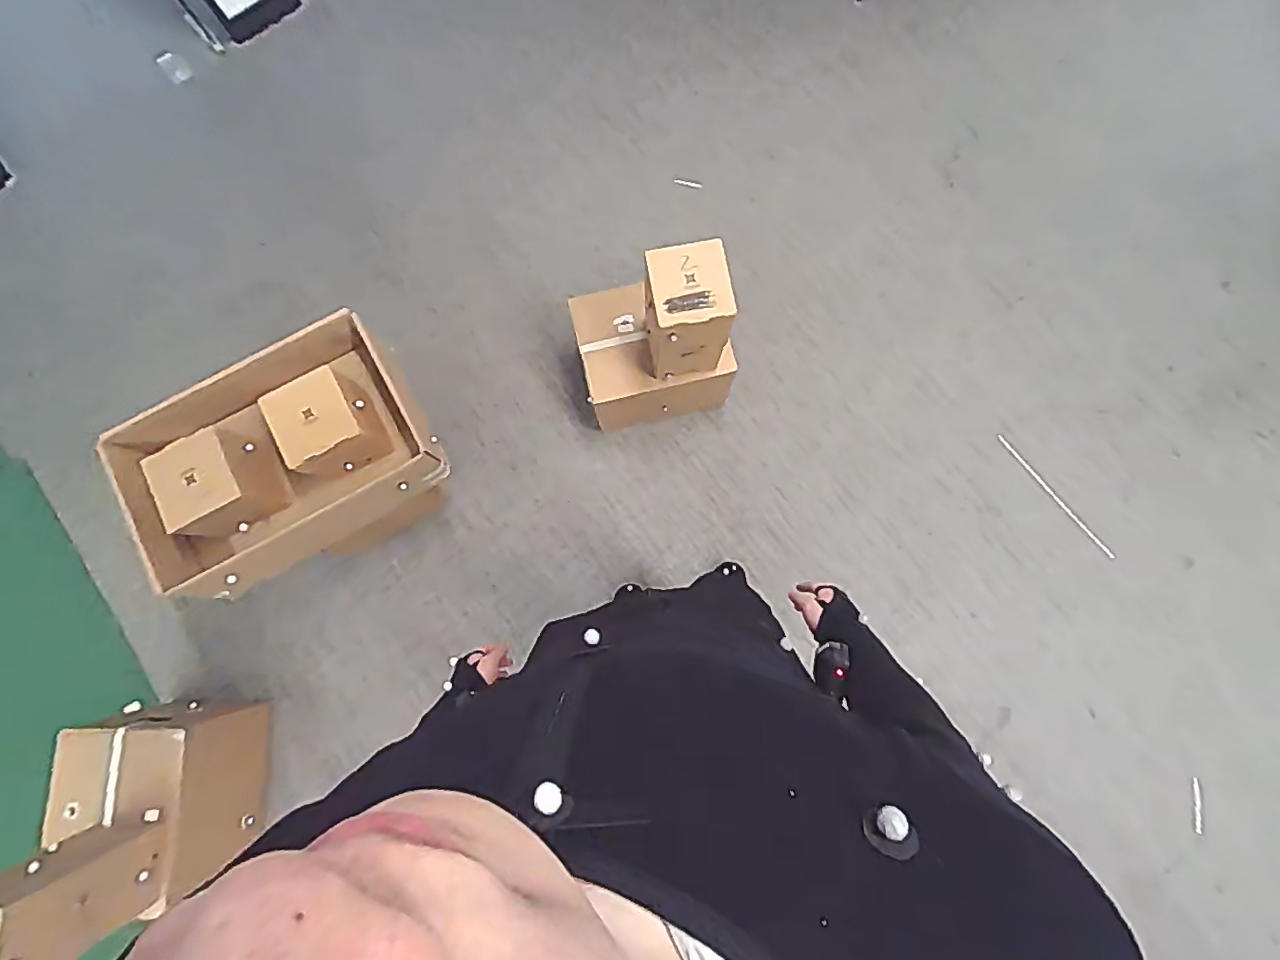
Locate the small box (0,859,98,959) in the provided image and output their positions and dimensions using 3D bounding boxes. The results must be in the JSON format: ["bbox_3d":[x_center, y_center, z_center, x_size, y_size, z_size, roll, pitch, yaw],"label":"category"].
[{"bbox_3d":[-1.166,0.824,0.985,0.179,0.176,0.168,-3,80,-1],"label":"small box"}]

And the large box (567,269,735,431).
[{"bbox_3d":[0.030,-0.367,1.606,0.408,0.320,0.320,-14,80,-1],"label":"large box"}]

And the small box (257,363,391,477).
[{"bbox_3d":[-0.696,-0.126,1.210,0.168,0.176,0.179,-29,83,-5],"label":"small box"}]

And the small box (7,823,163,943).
[{"bbox_3d":[-1.177,0.853,1.146,0.179,0.176,0.168,-2,80,-1],"label":"small box"}]

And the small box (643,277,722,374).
[{"bbox_3d":[0.103,-0.378,1.358,0.168,0.176,0.179,-10,81,-2],"label":"small box"}]
